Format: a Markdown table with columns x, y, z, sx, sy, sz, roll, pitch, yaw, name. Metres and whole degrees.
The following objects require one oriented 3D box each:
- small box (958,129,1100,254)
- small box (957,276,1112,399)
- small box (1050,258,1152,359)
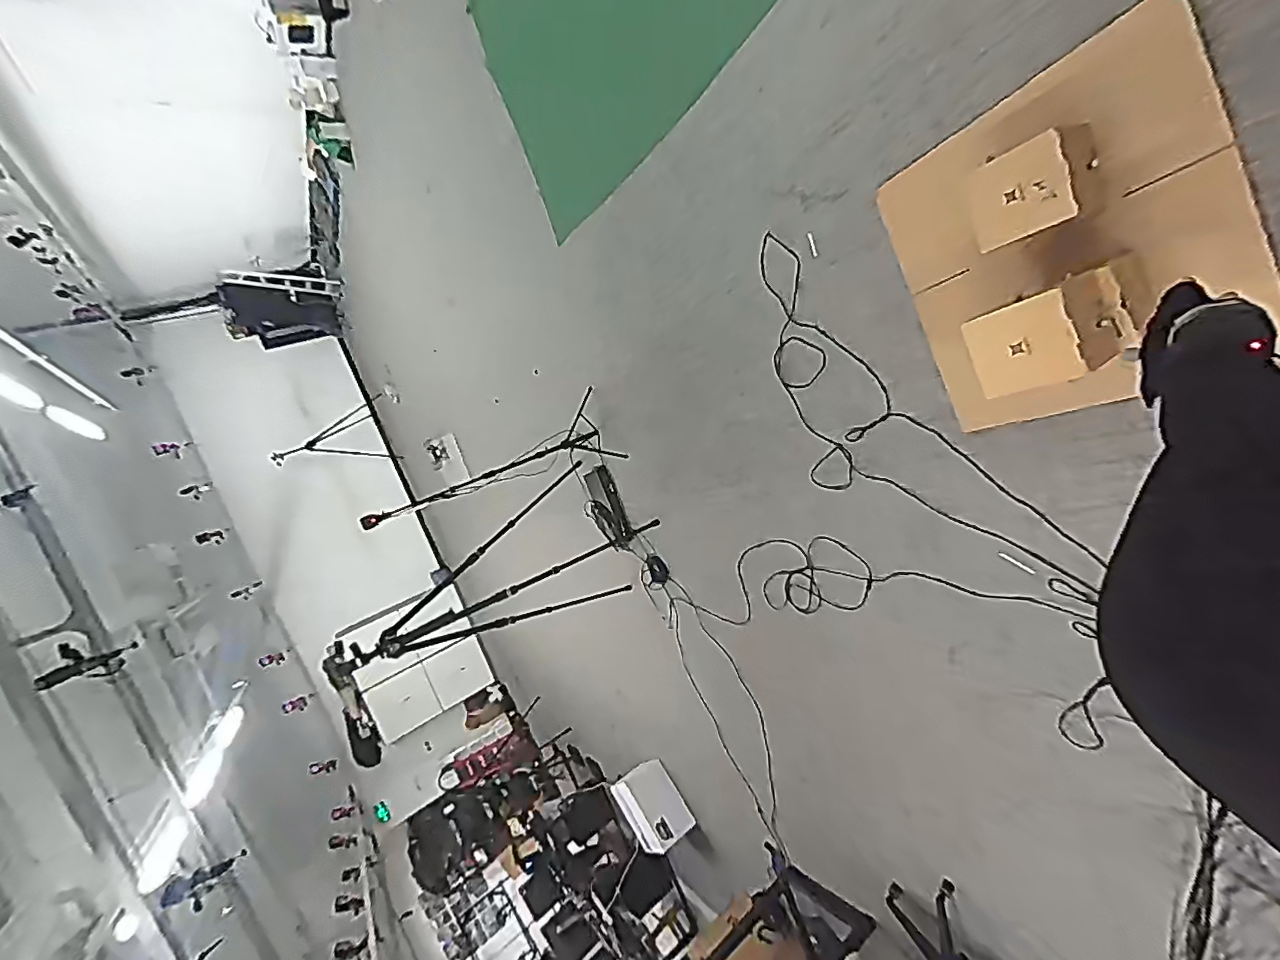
| x | y | z | sx | sy | sz | roll | pitch | yaw | name |
| --- | --- | --- | --- | --- | --- | --- | --- | --- | --- |
| 0.802 | -0.592 | 1.116 | 0.179 | 0.176 | 0.168 | -8 | 106 | 57 | small box |
| 0.773 | -0.277 | 1.062 | 0.179 | 0.176 | 0.168 | -15 | 99 | 59 | small box |
| 0.916 | -0.337 | 1.121 | 0.179 | 0.176 | 0.168 | -20 | 94 | 59 | small box |
